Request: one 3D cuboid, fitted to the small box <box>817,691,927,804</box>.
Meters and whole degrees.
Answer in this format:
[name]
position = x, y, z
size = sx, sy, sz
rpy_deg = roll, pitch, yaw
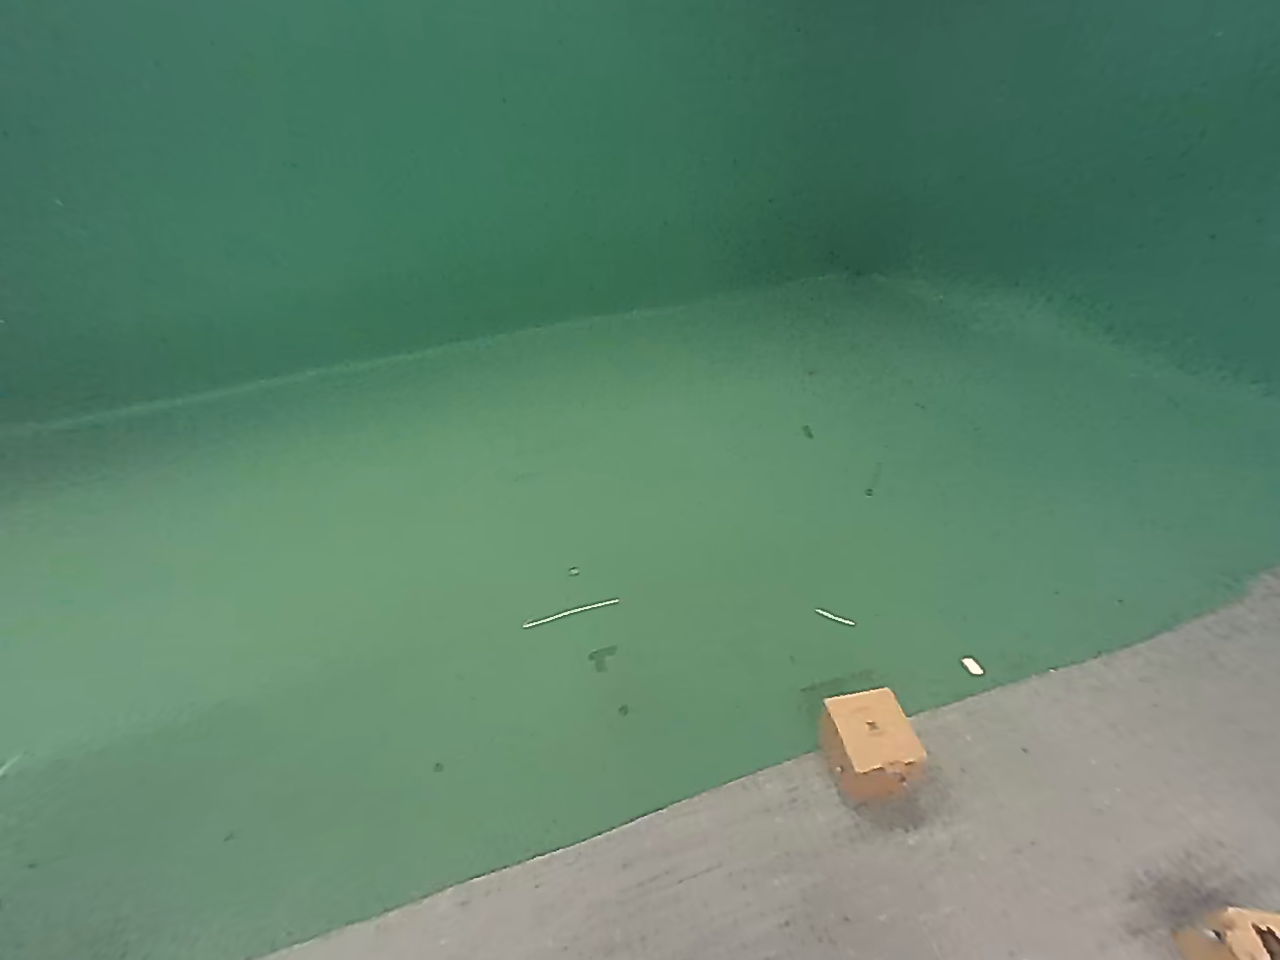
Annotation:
[small box]
position = 0.533, 0.632, 1.269
size = 0.168, 0.176, 0.179
rpy_deg = -8, 37, -5
